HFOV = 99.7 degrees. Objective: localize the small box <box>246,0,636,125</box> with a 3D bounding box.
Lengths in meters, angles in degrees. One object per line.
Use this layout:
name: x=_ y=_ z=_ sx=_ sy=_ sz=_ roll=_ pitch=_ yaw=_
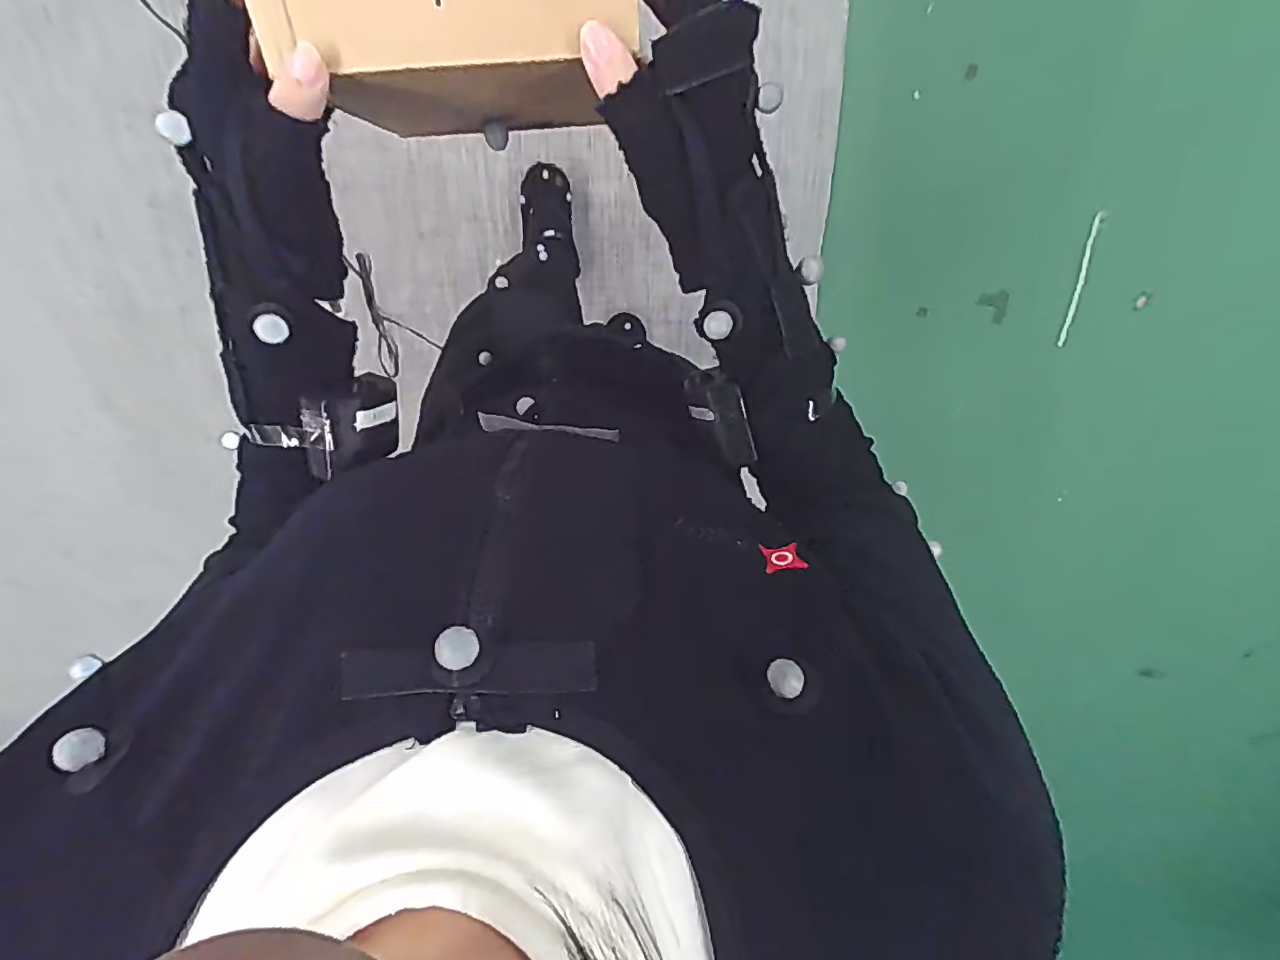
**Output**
small box: x=-0.091 y=-0.301 z=0.273 sx=0.168 sy=0.176 sz=0.179 roll=-4 pitch=115 yaw=0
